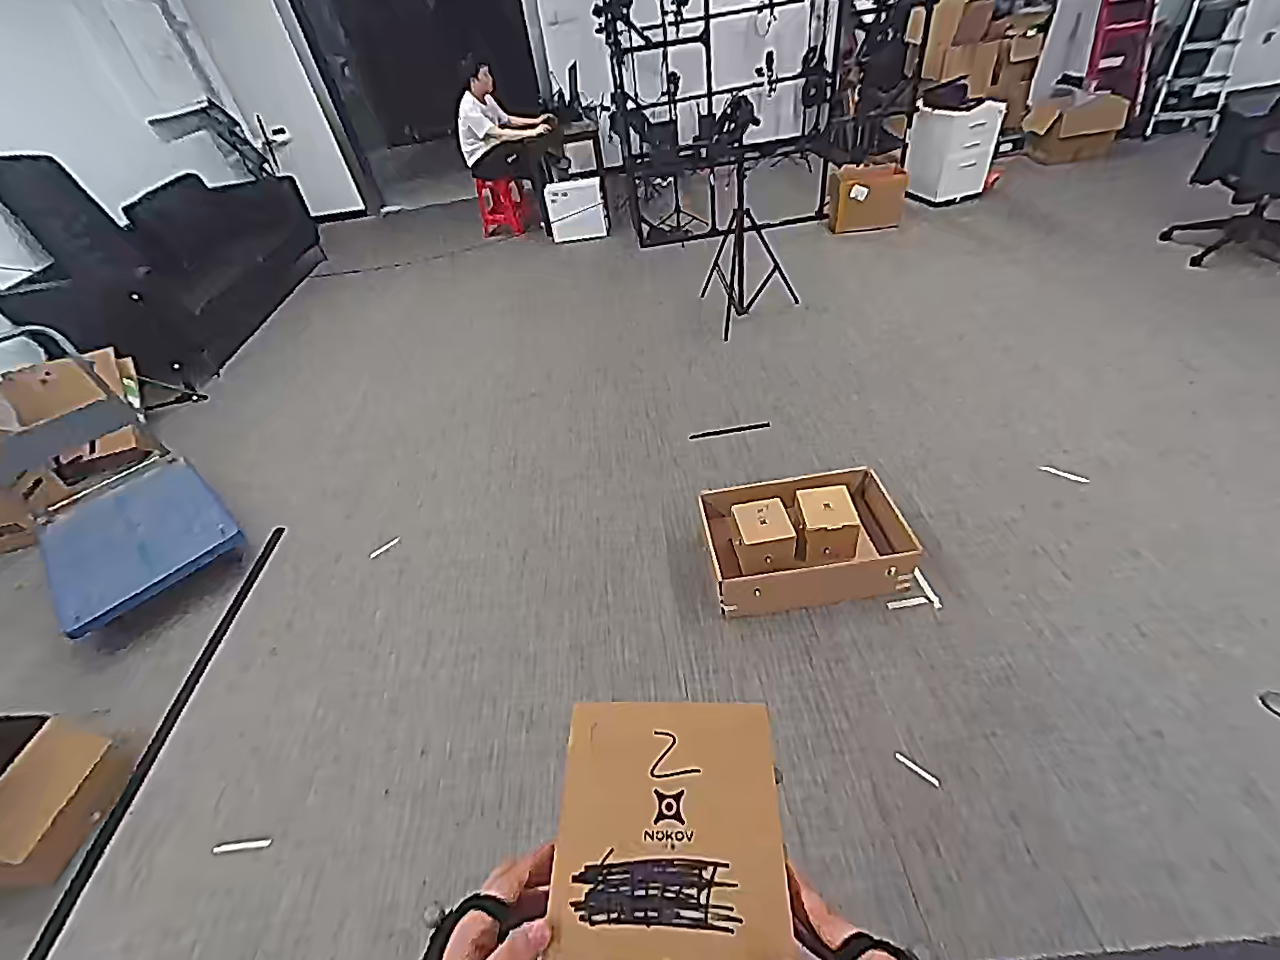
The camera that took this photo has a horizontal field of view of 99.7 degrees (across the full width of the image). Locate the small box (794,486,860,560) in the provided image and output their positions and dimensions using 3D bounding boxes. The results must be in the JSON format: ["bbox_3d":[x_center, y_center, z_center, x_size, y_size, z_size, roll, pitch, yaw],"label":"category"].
[{"bbox_3d":[0.614,0.145,1.799,0.168,0.176,0.179,-6,43,5],"label":"small box"}]

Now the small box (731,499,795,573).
[{"bbox_3d":[0.401,0.191,1.786,0.168,0.176,0.179,-9,42,-2],"label":"small box"}]
